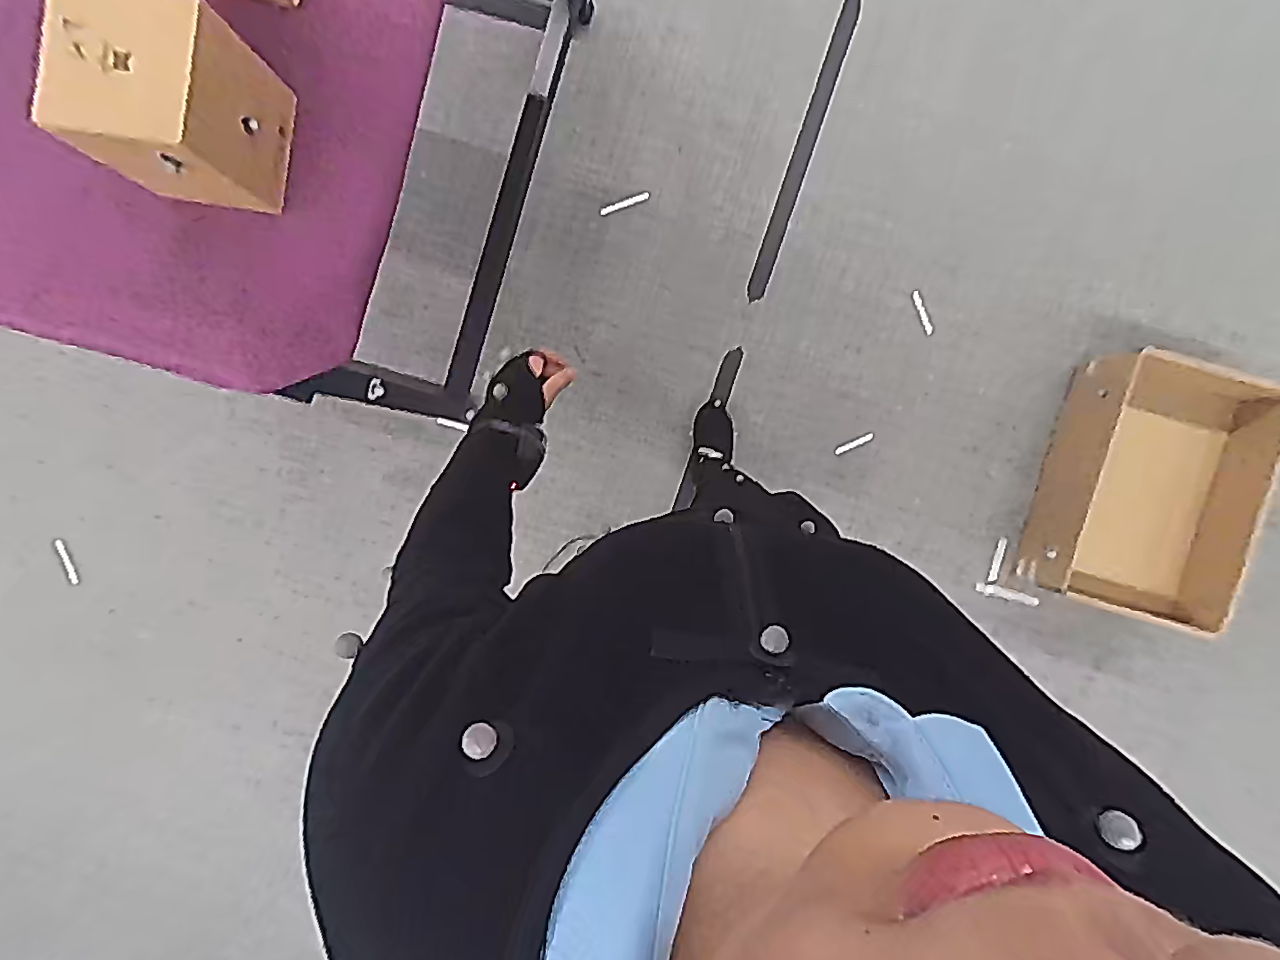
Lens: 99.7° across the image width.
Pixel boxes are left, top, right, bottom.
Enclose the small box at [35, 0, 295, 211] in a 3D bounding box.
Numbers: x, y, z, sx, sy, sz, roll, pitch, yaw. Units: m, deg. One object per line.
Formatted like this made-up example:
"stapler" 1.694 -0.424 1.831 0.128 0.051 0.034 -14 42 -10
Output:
"small box" -0.574 -0.464 0.678 0.179 0.176 0.168 9 91 2
